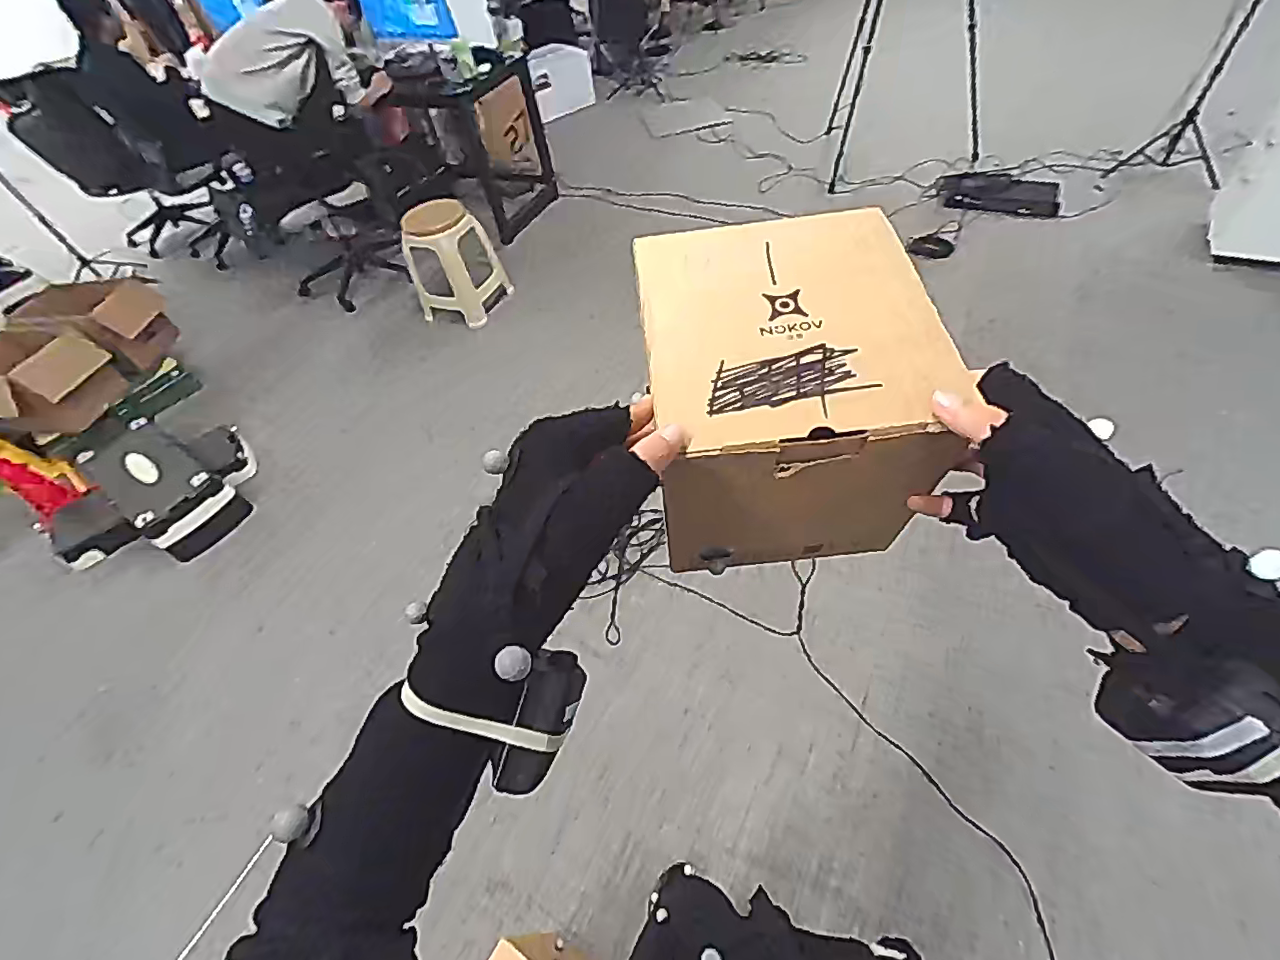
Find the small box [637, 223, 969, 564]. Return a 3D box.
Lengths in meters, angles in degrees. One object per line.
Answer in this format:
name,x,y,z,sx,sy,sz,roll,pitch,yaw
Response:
small box,0.091,-0.048,0.390,0.168,0.176,0.179,-6,59,2

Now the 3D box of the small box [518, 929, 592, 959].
small box,-0.160,1.000,1.023,0.179,0.176,0.168,23,60,26
